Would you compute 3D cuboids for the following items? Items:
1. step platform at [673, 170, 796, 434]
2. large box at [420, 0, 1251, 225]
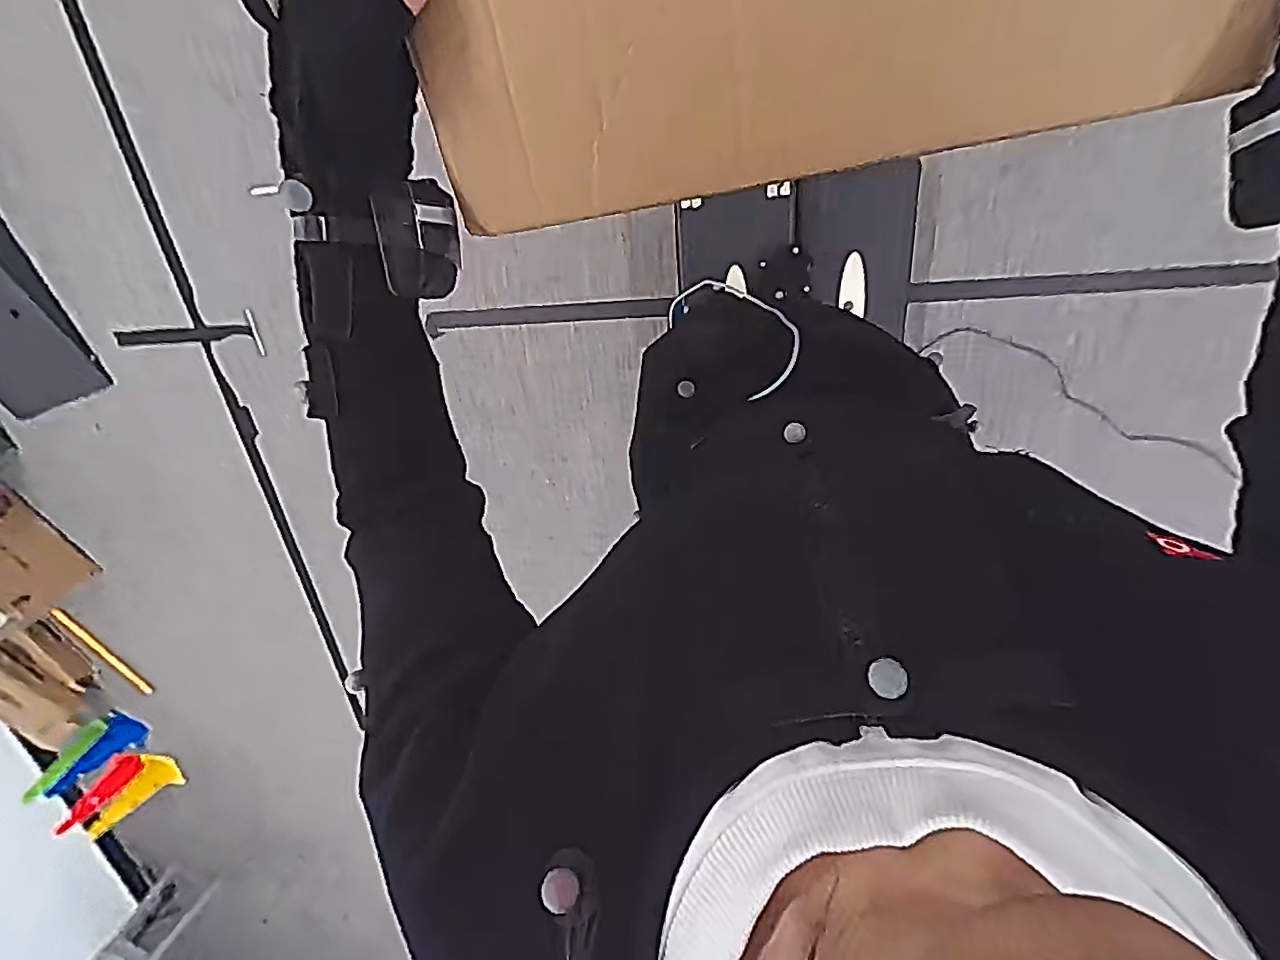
[{"bbox_3d":[0.249,-0.460,1.401,0.286,0.204,0.684,-2,112,10],"label":"step platform"},{"bbox_3d":[0.084,-0.385,0.357,0.408,0.320,0.320,-6,120,10],"label":"large box"}]
